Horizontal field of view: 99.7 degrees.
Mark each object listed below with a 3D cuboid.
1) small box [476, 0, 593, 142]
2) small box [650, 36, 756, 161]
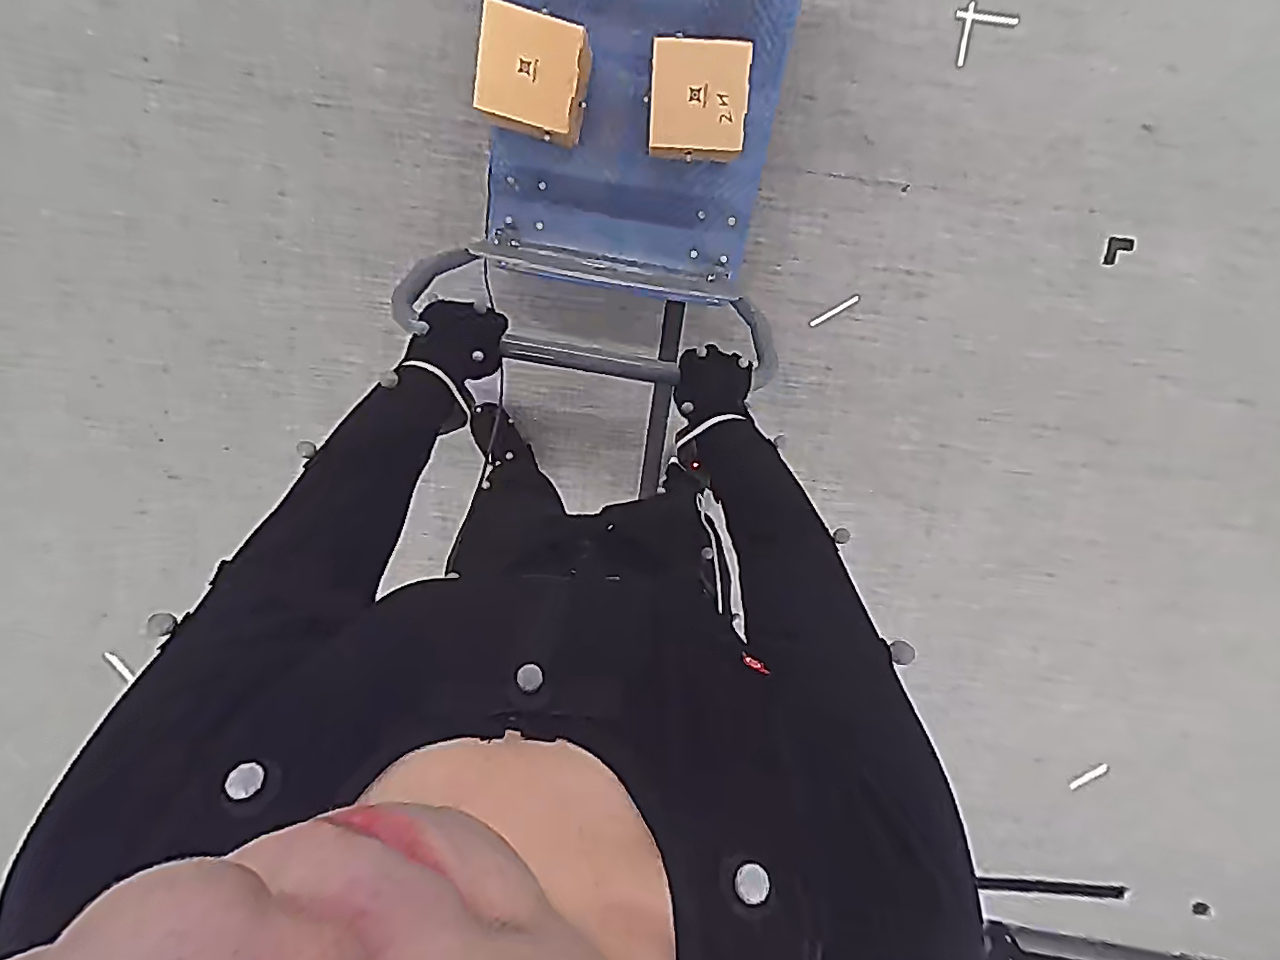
[{"bbox_3d":[-0.193,-0.763,1.024,0.179,0.176,0.168,13,114,-7],"label":"small box"},{"bbox_3d":[0.112,-0.720,1.038,0.179,0.176,0.168,3,115,0],"label":"small box"}]
